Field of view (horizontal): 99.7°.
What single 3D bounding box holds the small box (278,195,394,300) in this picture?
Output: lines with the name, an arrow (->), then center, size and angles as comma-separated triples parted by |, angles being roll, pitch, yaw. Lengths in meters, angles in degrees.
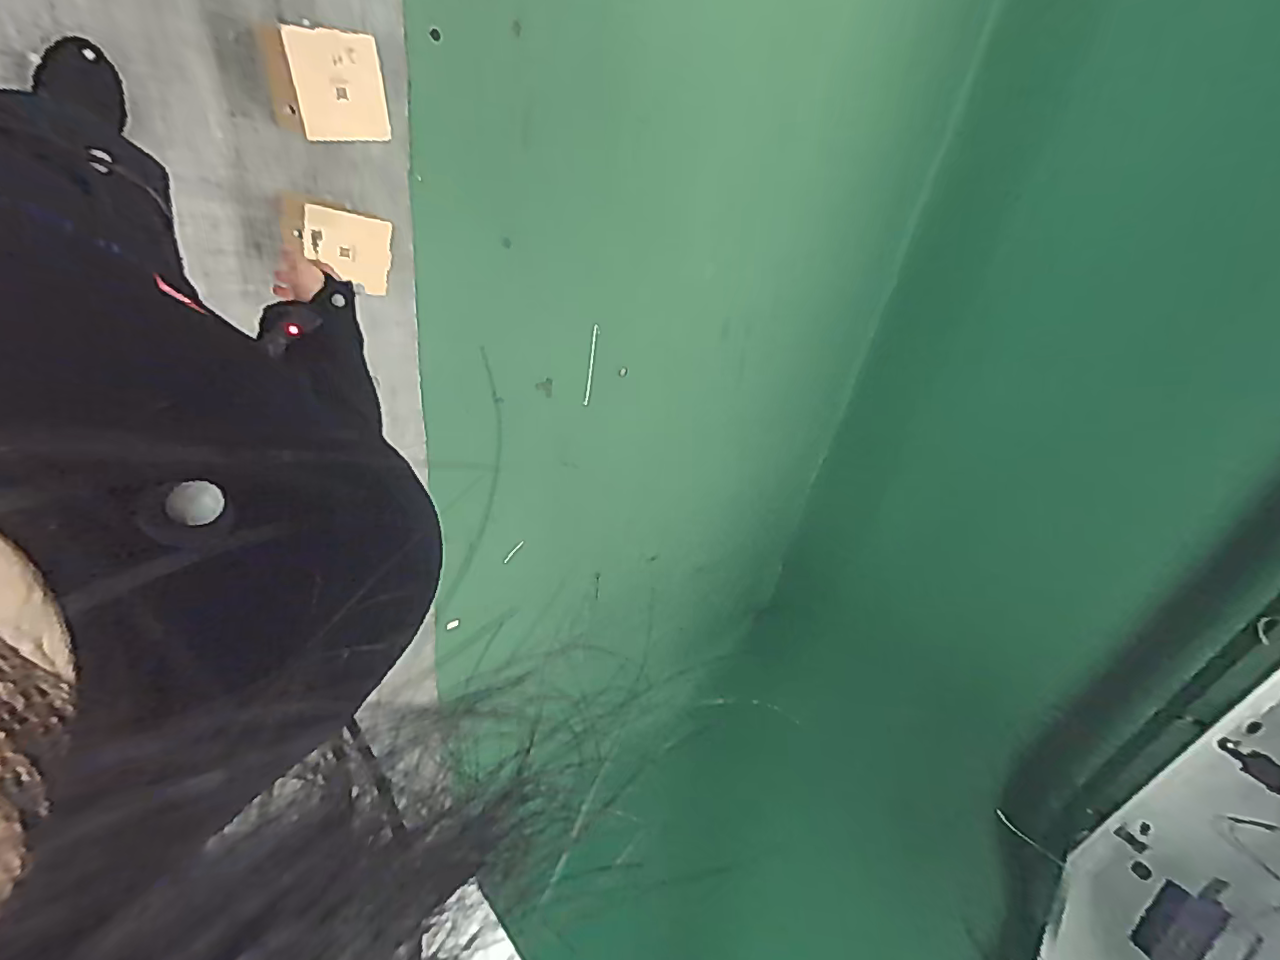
small box -> -0.684, -0.520, 1.214 | 0.179, 0.176, 0.168 | -9, 125, -47

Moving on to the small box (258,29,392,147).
small box -> -0.624, -0.776, 1.076 | 0.168, 0.176, 0.179 | -27, 136, -36
